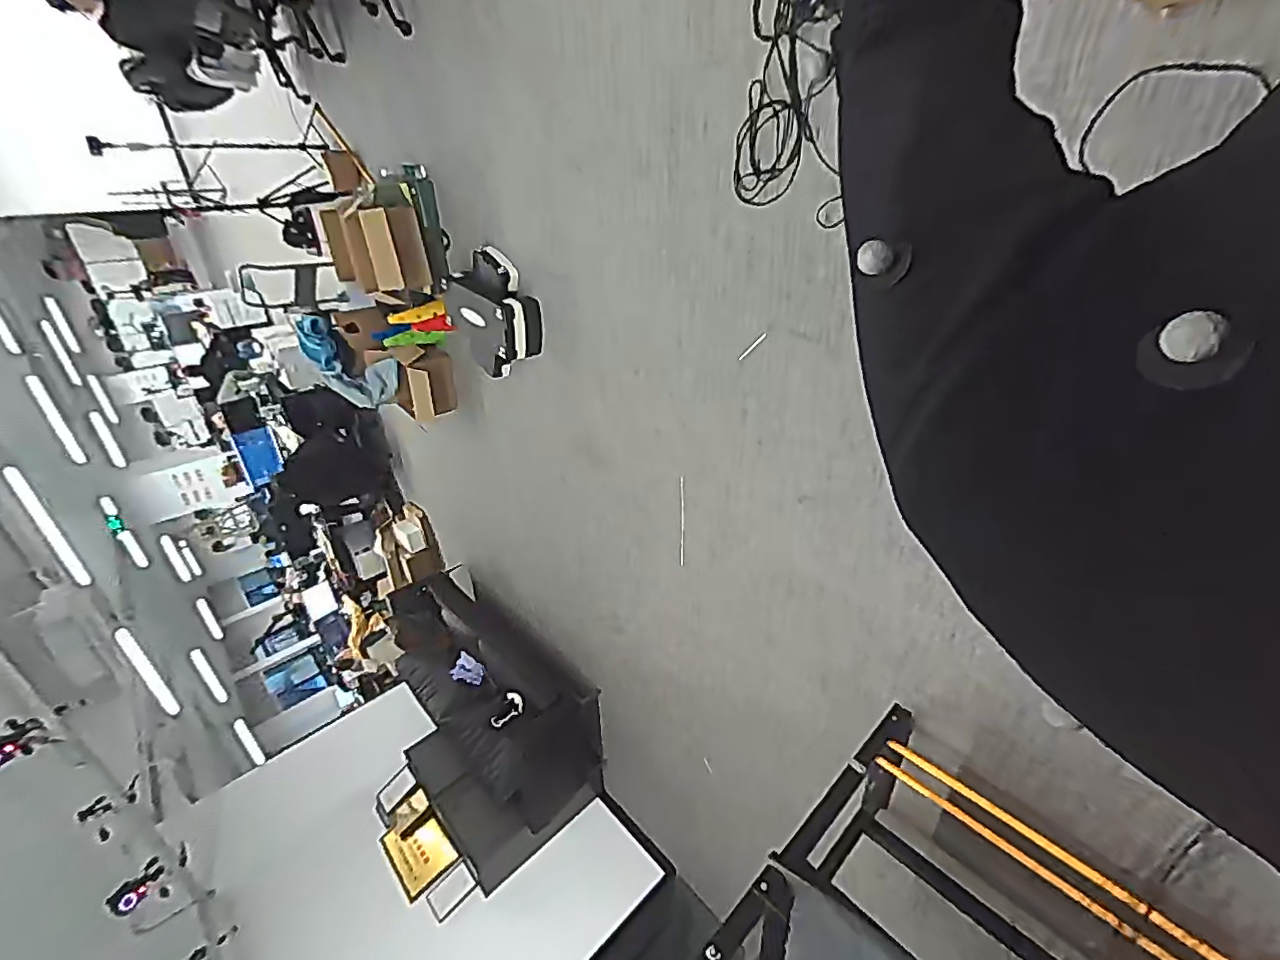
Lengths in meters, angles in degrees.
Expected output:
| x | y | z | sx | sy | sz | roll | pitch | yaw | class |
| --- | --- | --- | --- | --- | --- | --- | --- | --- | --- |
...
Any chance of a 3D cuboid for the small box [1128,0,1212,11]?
| x | y | z | sx | sy | sz | roll | pitch | yaw | class |
| --- | --- | --- | --- | --- | --- | --- | --- | --- | --- |
| 0.882 | -0.838 | 0.810 | 0.168 | 0.176 | 0.179 | 24 | 127 | 42 | small box |
